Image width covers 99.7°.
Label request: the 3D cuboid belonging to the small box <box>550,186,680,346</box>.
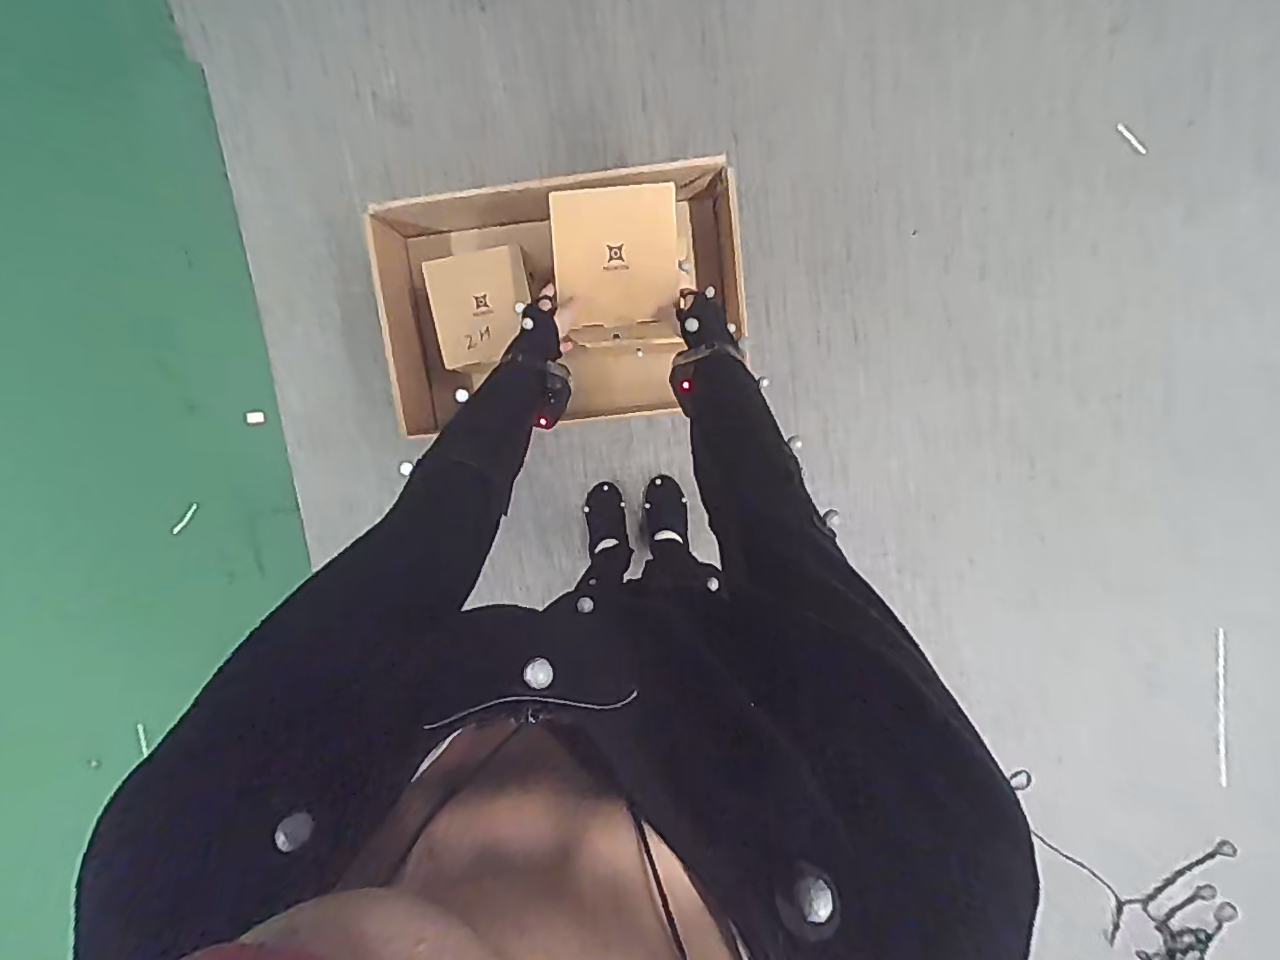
[{"bbox_3d":[-0.031,-0.297,0.784,0.168,0.176,0.179,-3,97,3],"label":"small box"}]
